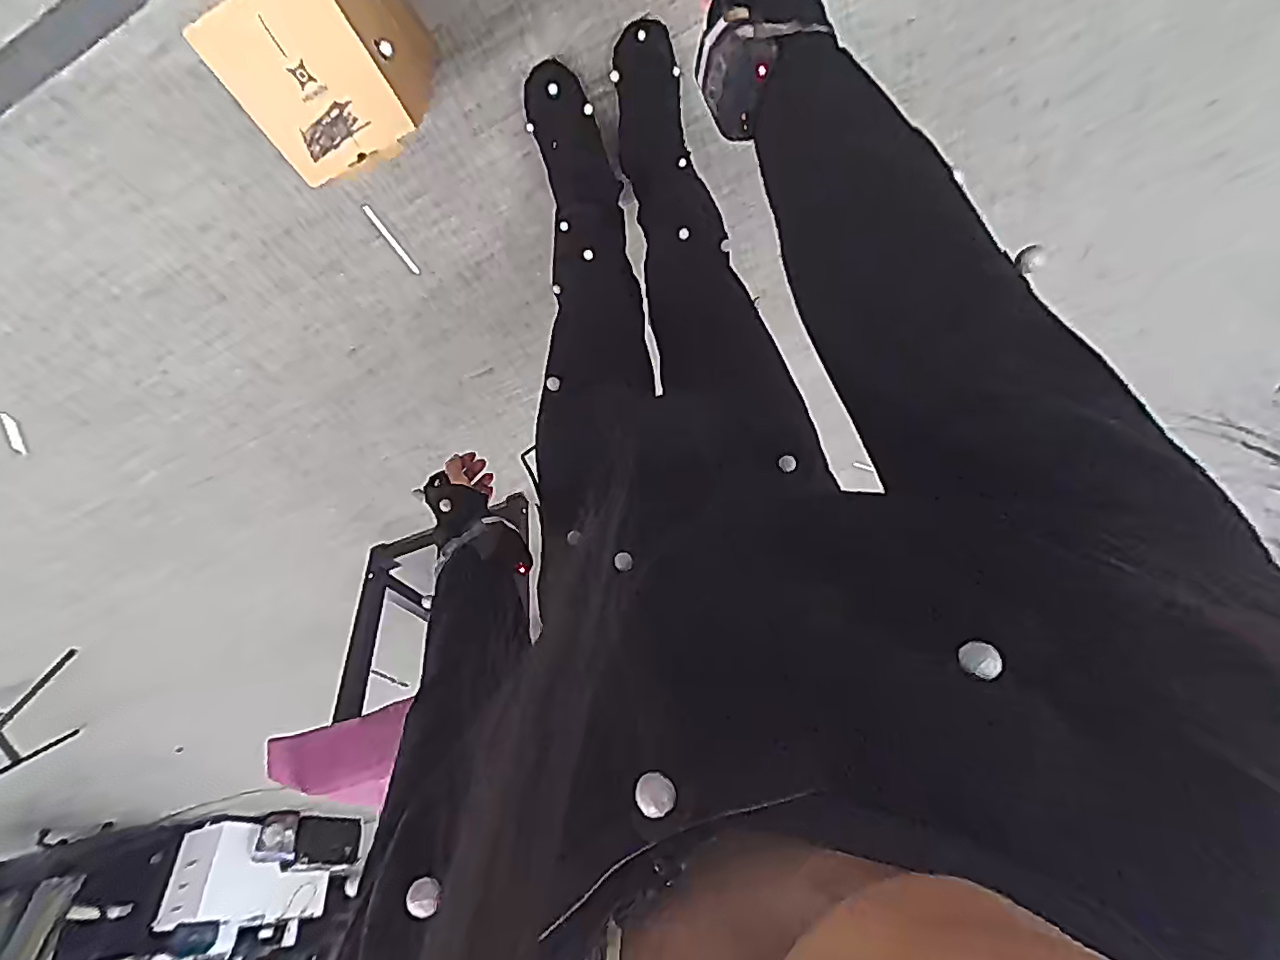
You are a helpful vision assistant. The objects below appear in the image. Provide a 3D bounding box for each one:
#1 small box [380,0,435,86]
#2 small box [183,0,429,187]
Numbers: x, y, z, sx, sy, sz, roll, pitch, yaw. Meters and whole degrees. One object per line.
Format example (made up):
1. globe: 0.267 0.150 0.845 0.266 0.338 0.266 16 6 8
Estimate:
1. small box: -0.414 -0.631 0.771 0.179 0.176 0.168 -22 138 14
2. small box: -0.385 -0.509 0.664 0.168 0.176 0.179 -21 138 12
